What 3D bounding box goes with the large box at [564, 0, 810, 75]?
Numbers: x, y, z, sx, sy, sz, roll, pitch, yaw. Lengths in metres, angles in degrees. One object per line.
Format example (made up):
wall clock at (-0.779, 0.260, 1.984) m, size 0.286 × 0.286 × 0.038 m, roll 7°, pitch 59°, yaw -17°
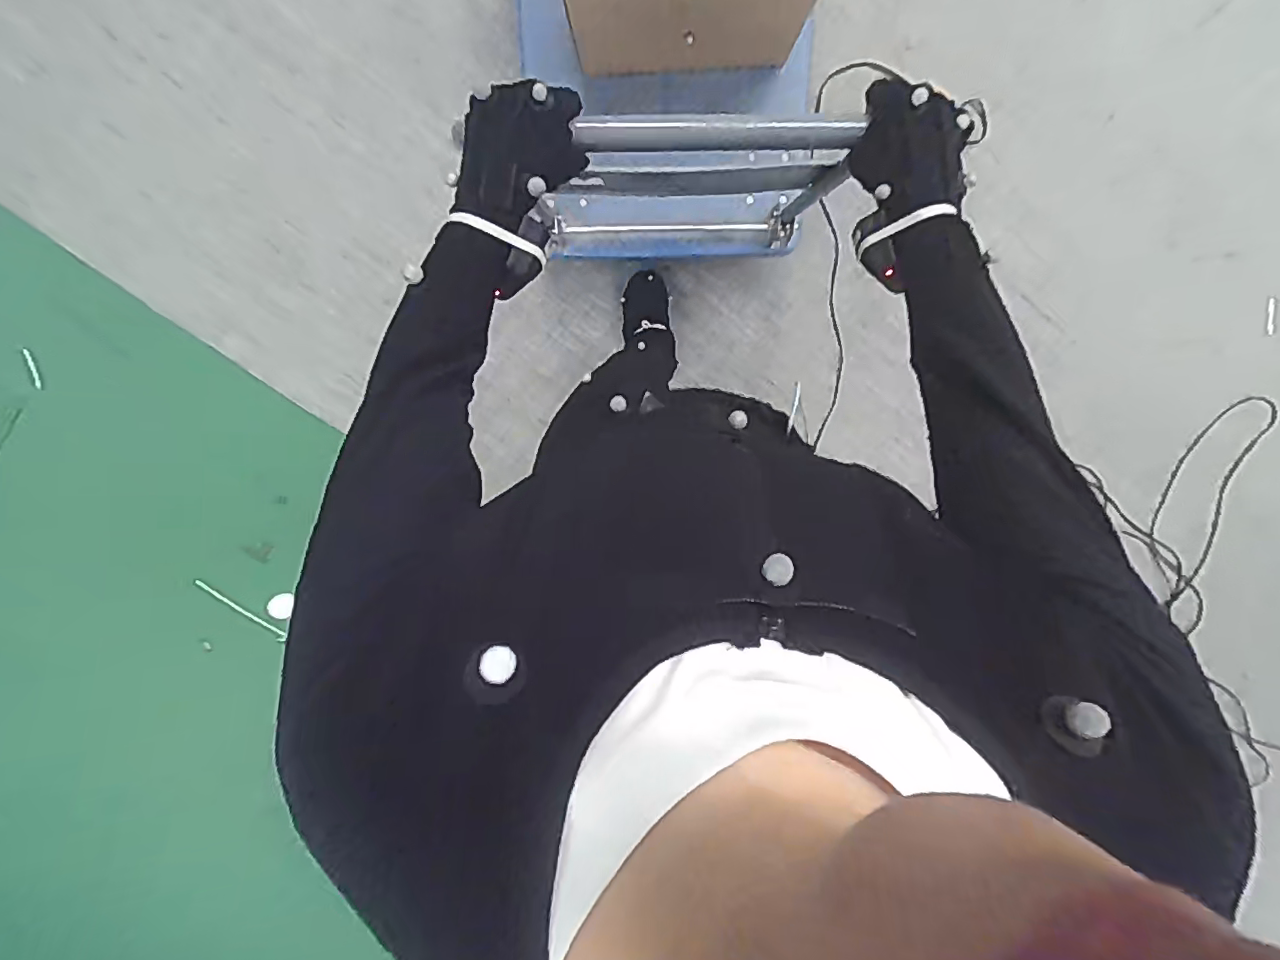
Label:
large box at (0.073, -0.928, 0.896) m, size 0.408 × 0.320 × 0.320 m, roll -3°, pitch 105°, yaw 2°
